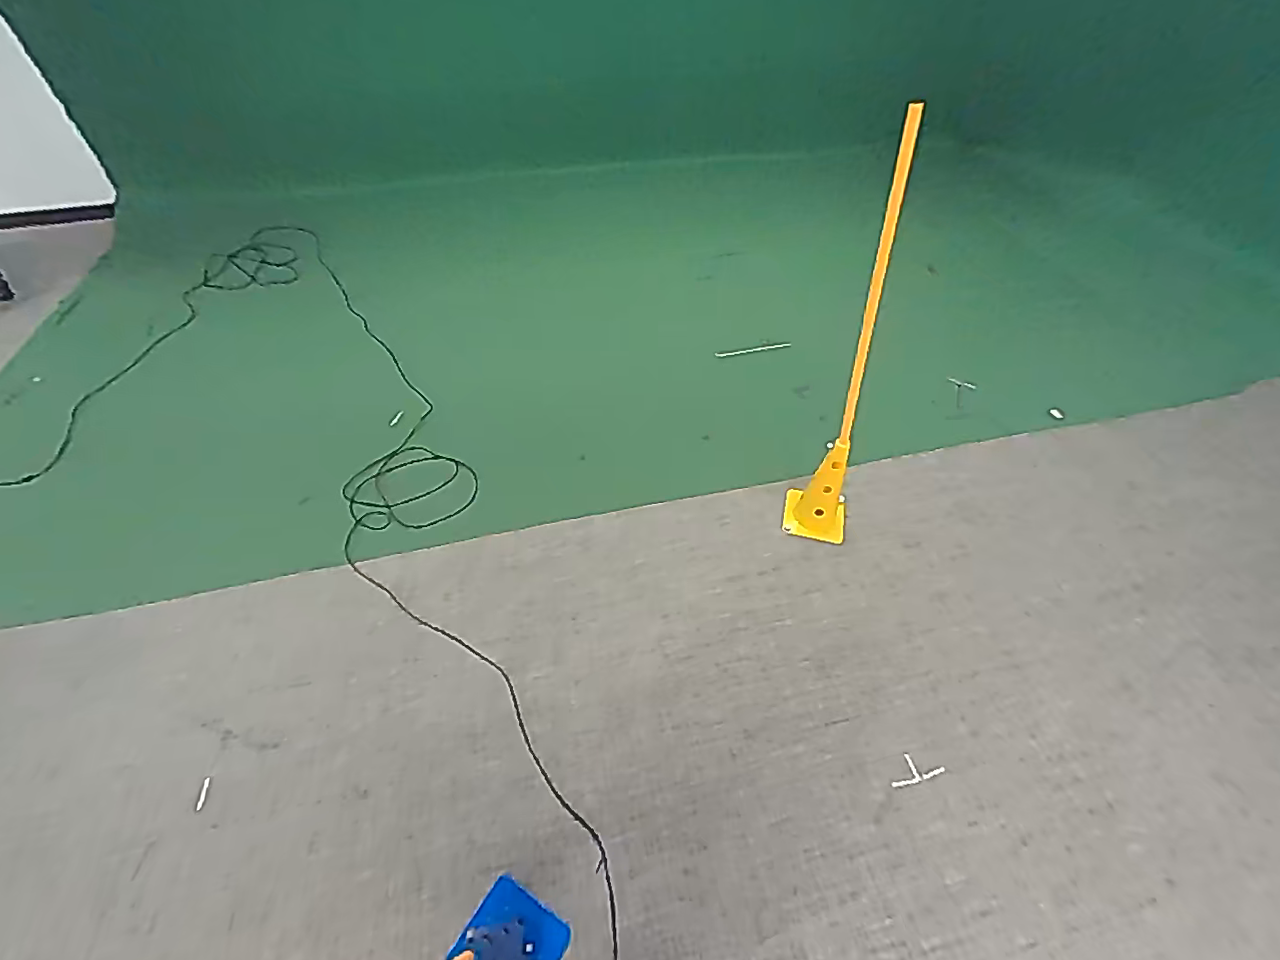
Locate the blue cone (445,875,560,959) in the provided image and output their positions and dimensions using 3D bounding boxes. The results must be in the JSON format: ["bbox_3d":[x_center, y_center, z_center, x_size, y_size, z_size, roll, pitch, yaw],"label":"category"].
[{"bbox_3d":[-0.277,0.854,0.976,0.192,0.380,0.193,25,56,18],"label":"blue cone"}]
